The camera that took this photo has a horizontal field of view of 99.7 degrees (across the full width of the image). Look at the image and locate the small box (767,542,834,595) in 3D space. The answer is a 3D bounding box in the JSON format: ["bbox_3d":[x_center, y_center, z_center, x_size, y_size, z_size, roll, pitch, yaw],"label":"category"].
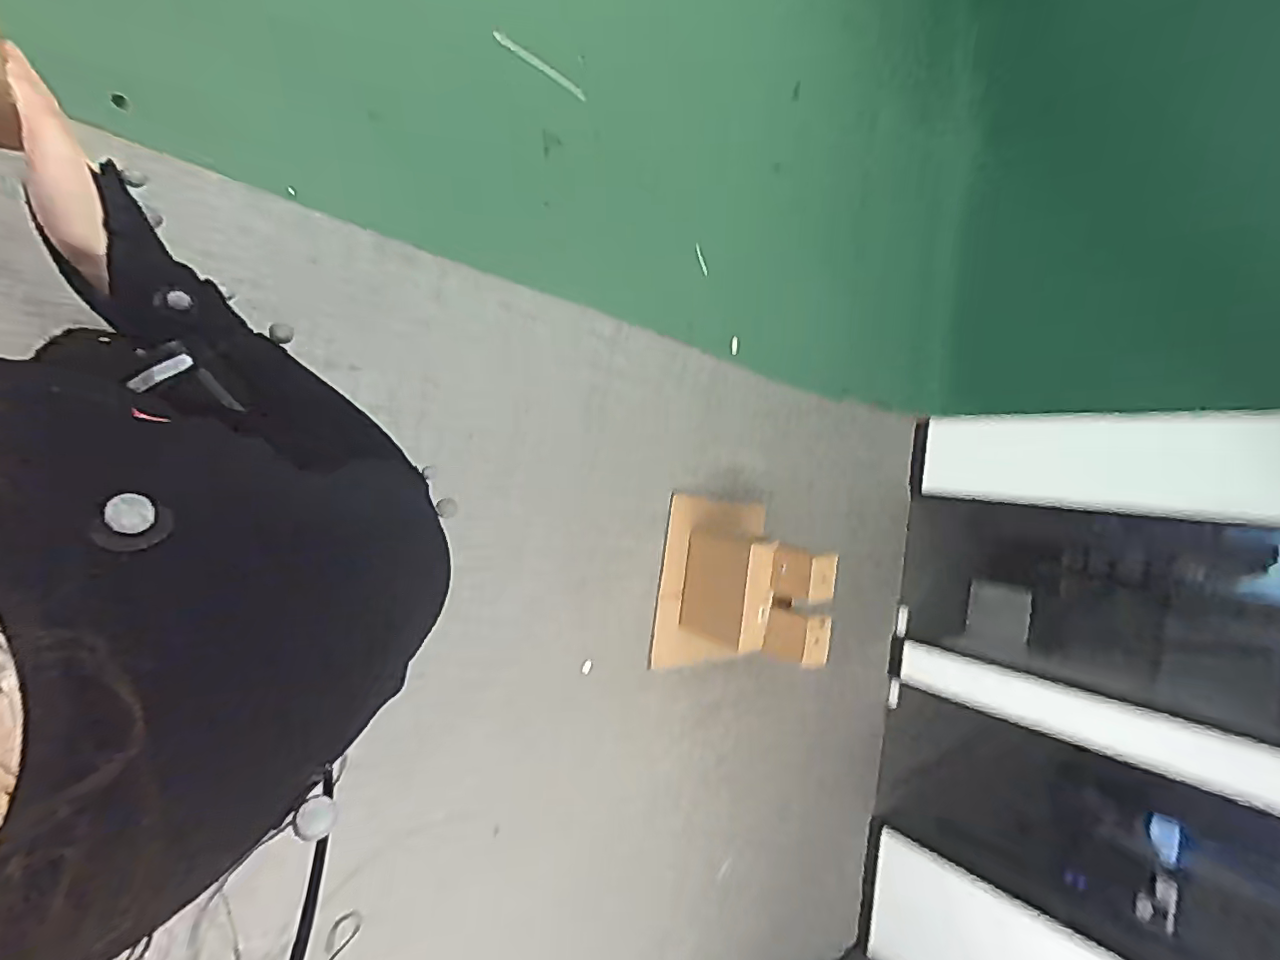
[{"bbox_3d":[0.605,0.327,2.038,0.179,0.176,0.168,3,92,-42],"label":"small box"}]

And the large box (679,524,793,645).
[{"bbox_3d":[0.383,0.399,2.175,0.320,0.320,0.408,5,92,-41],"label":"large box"}]

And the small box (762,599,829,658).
[{"bbox_3d":[0.582,0.557,2.037,0.168,0.176,0.179,13,85,-41],"label":"small box"}]

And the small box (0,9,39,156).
[{"bbox_3d":[-0.416,-0.268,0.237,0.168,0.176,0.179,-20,115,-40],"label":"small box"}]
